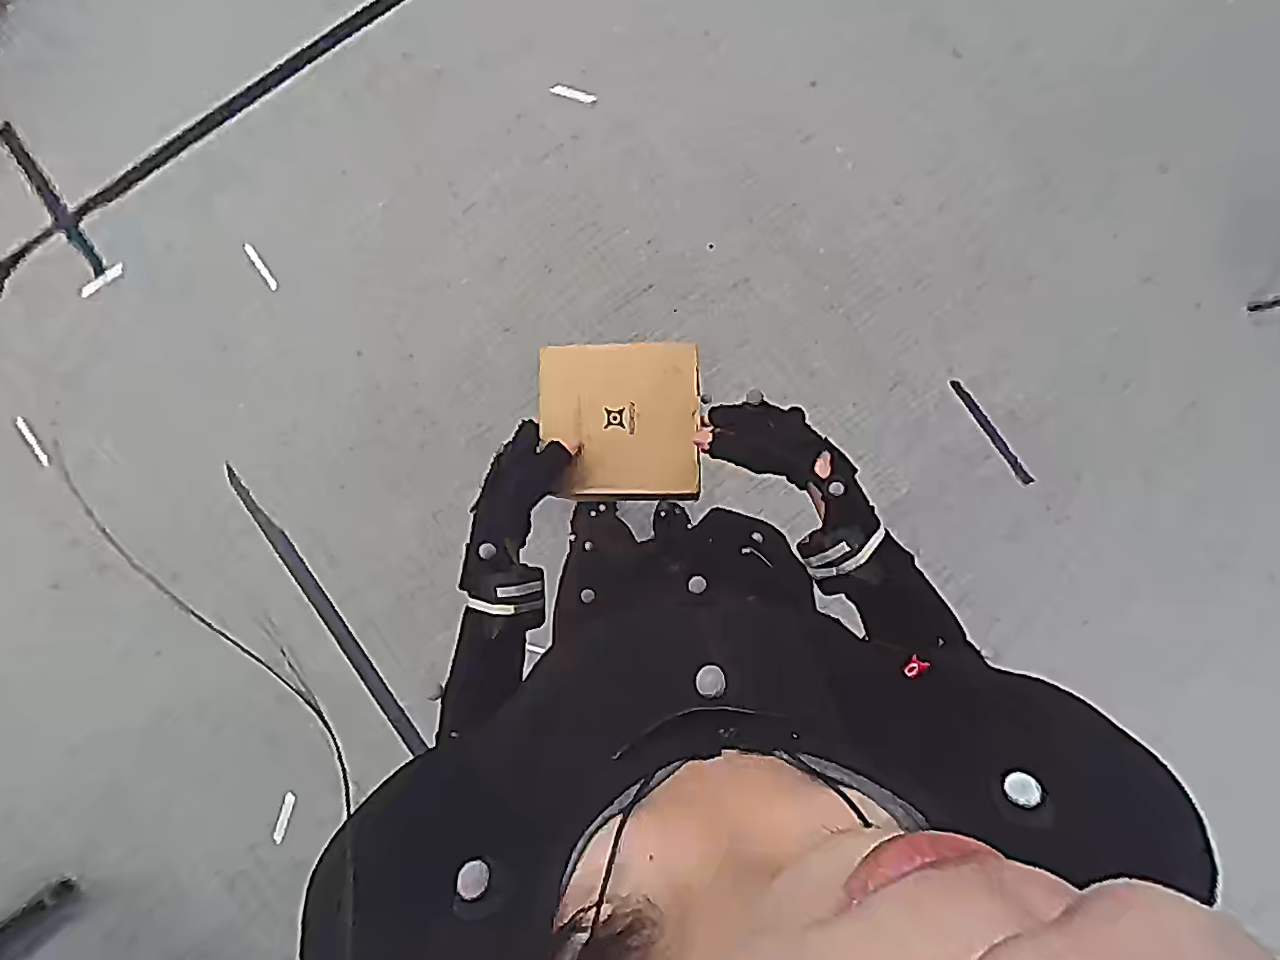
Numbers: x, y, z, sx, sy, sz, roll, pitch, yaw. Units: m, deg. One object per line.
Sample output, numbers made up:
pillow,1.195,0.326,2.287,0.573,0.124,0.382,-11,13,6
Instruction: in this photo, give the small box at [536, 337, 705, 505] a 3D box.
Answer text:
small box,-0.015,-0.058,0.641,0.179,0.176,0.168,-2,84,6
